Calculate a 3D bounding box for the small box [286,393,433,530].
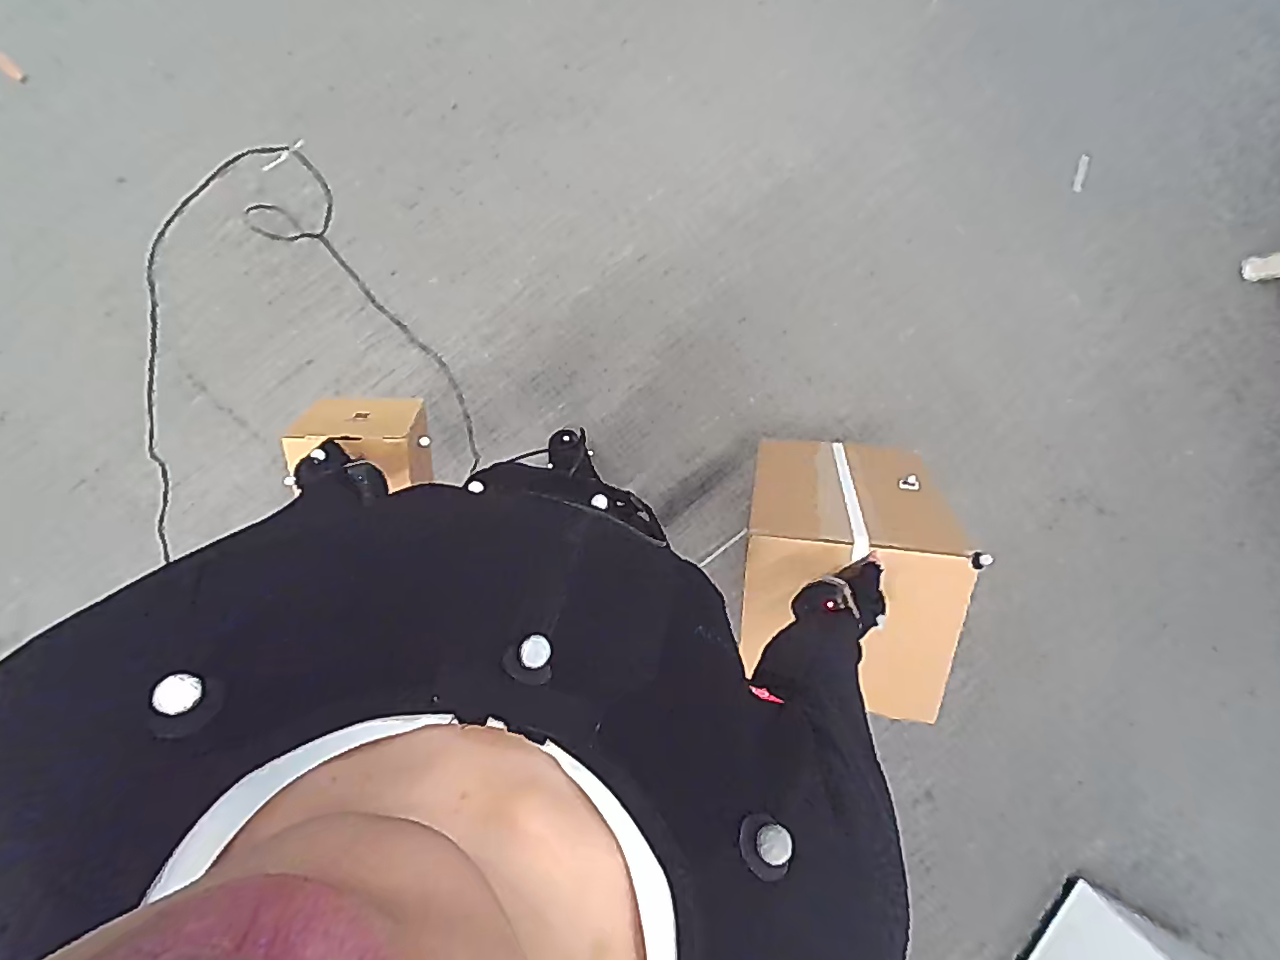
[{"bbox_3d":[-0.444,-0.034,0.889,0.168,0.179,0.176,-2,119,-11],"label":"small box"}]
